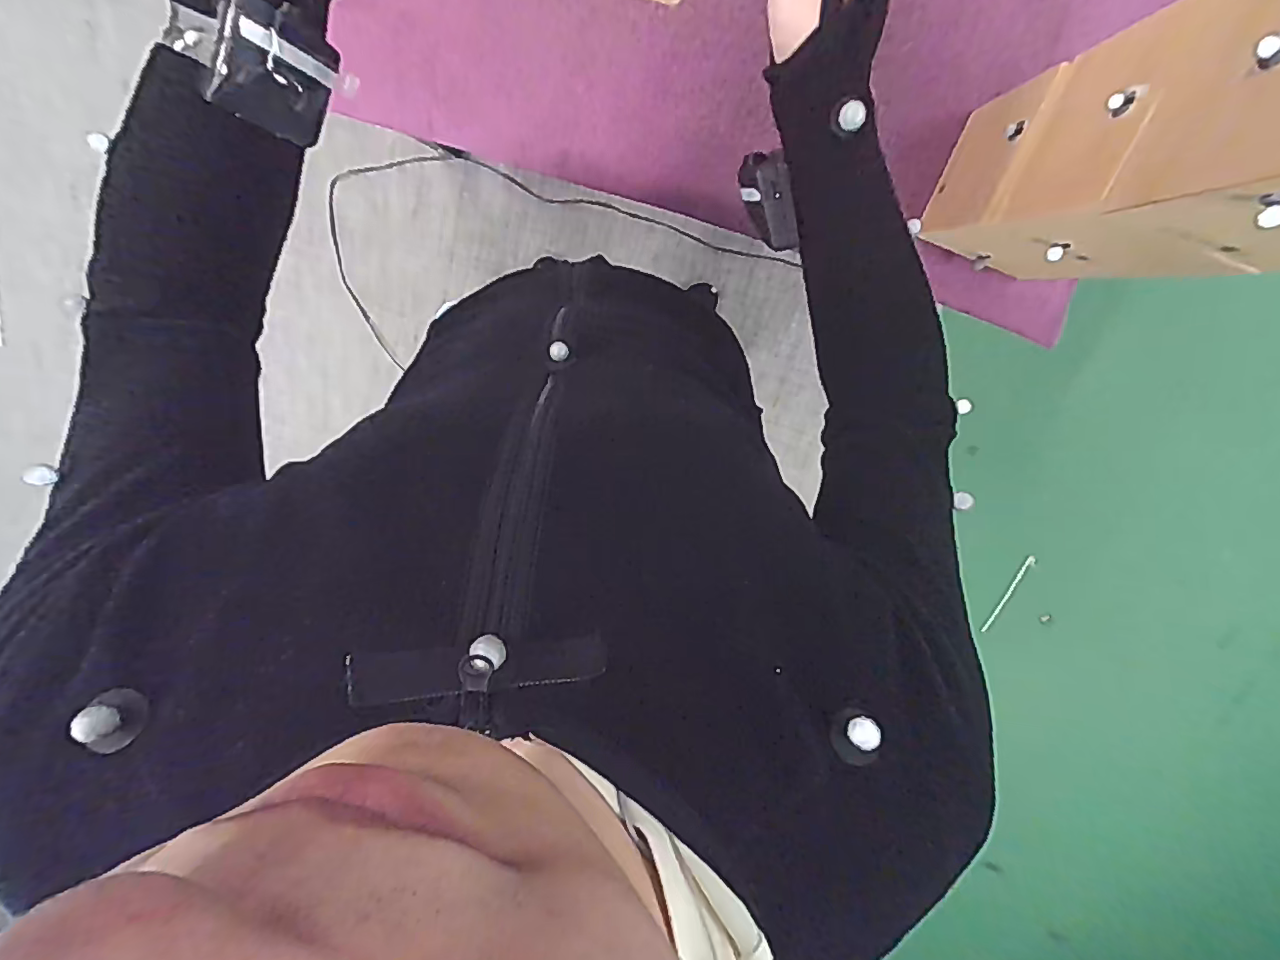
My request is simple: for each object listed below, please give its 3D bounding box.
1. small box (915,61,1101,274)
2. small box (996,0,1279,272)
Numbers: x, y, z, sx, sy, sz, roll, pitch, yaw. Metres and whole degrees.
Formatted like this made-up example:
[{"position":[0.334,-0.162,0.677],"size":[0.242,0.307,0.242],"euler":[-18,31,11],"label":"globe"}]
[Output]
[{"position":[0.493,-0.371,0.677],"size":[0.179,0.176,0.168],"euler":[18,108,-7],"label":"small box"},{"position":[0.497,-0.317,0.523],"size":[0.168,0.176,0.179],"euler":[19,109,-5],"label":"small box"}]
